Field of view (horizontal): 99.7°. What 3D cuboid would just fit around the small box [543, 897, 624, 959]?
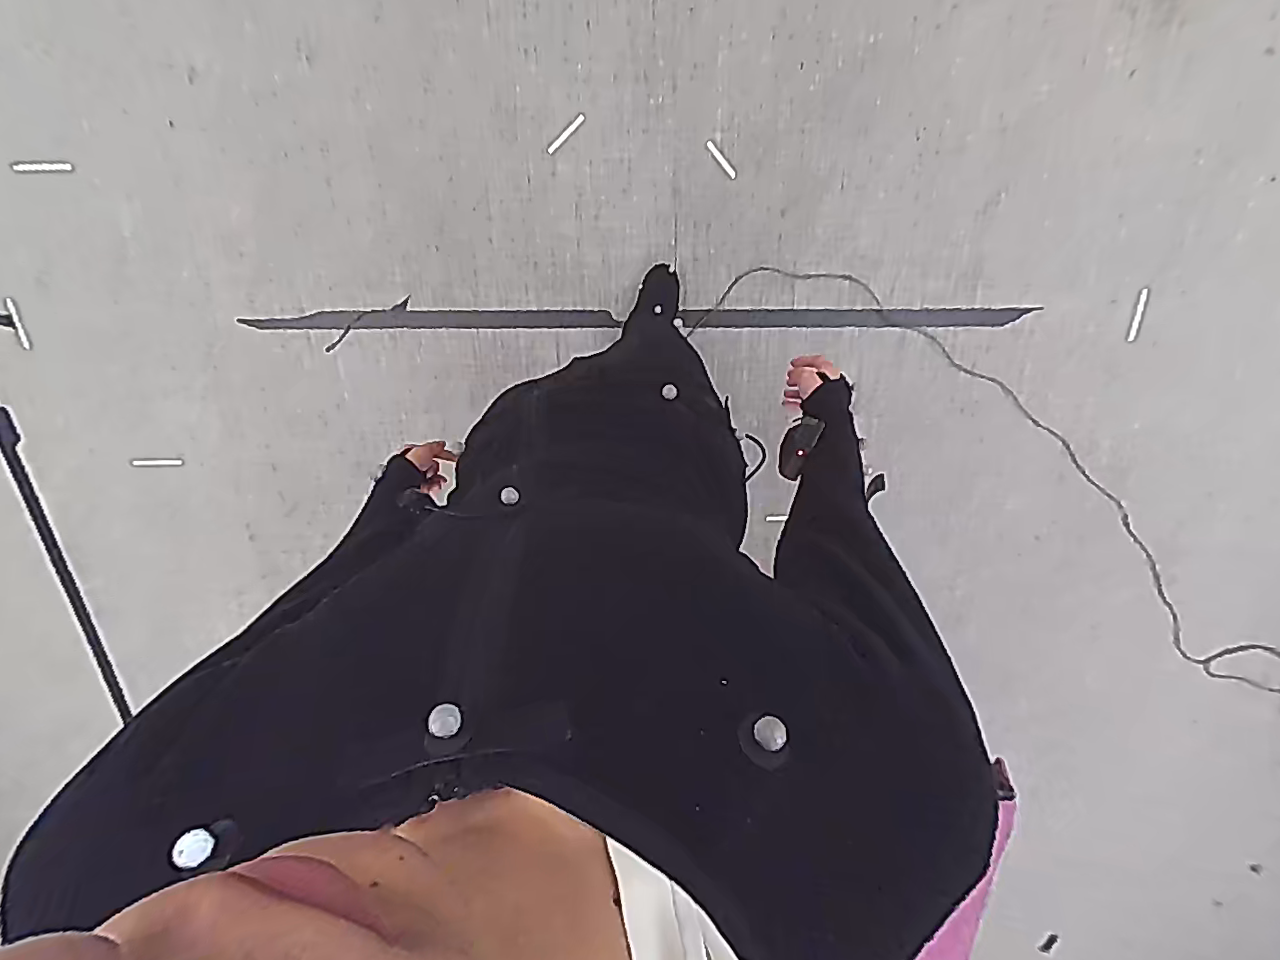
[{"bbox_3d":[-0.123,1.046,1.158,0.168,0.176,0.179,6,107,-1],"label":"small box"}]
